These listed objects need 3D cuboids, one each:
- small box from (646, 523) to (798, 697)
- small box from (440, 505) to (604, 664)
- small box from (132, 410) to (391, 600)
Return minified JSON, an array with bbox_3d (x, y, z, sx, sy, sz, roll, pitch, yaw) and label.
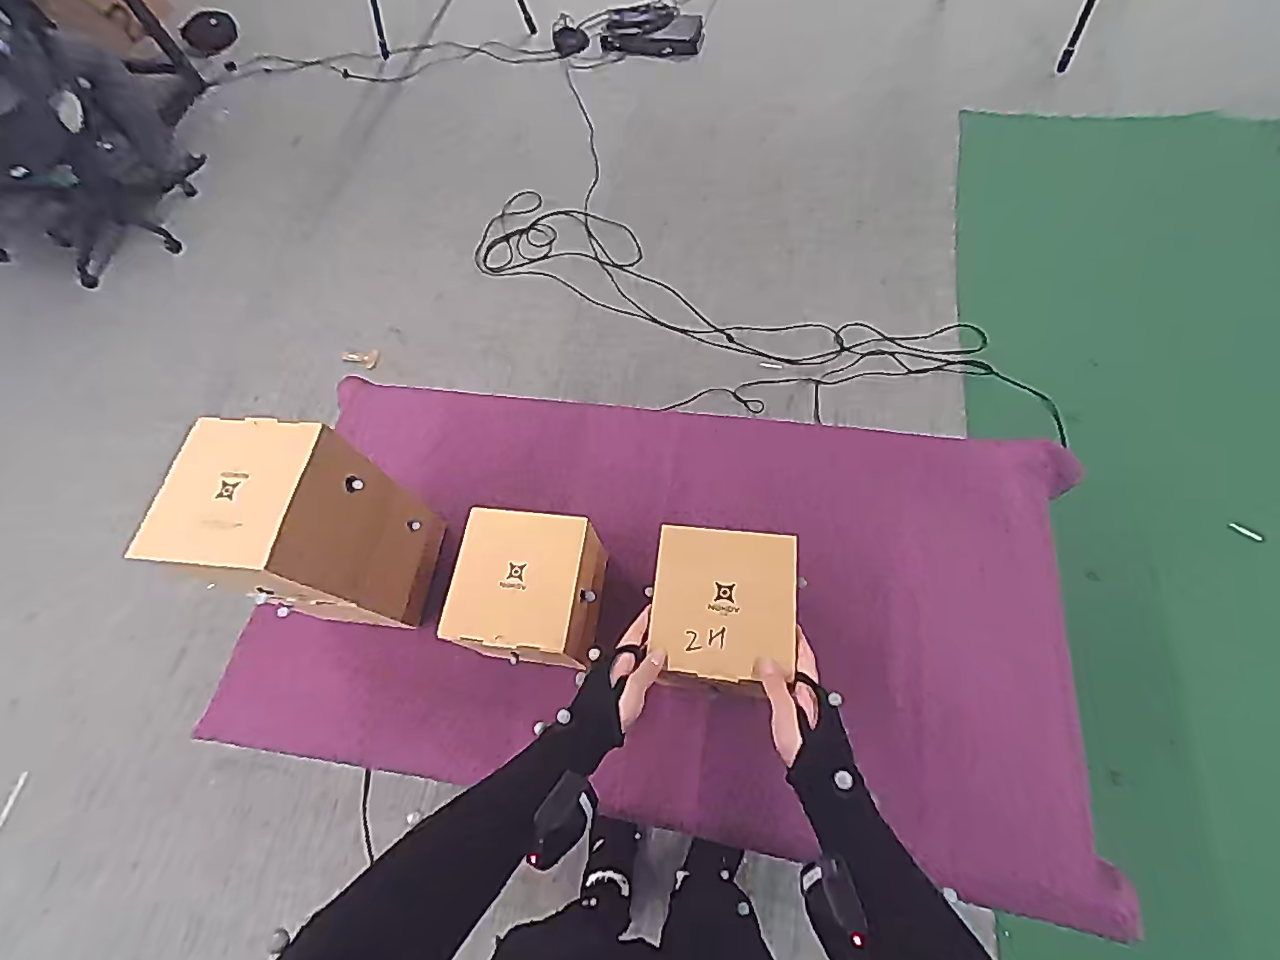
[{"bbox_3d":[0.106,0.173,0.702,0.168,0.176,0.179,5,65,9],"label":"small box"},{"bbox_3d":[-0.151,0.152,0.765,0.168,0.176,0.179,5,67,8],"label":"small box"},{"bbox_3d":[-0.437,0.036,0.663,0.168,0.176,0.179,5,66,8],"label":"small box"}]
